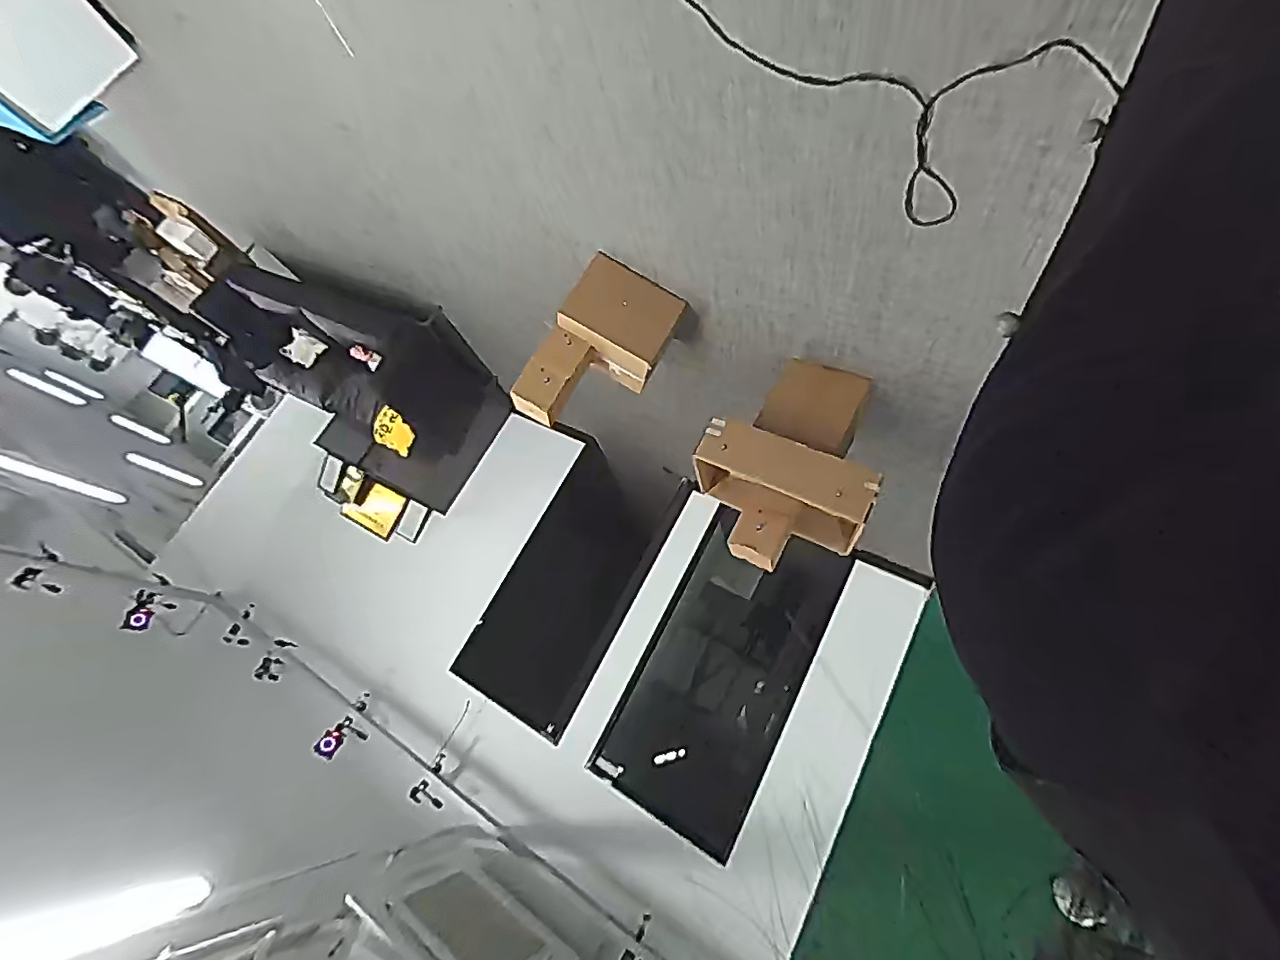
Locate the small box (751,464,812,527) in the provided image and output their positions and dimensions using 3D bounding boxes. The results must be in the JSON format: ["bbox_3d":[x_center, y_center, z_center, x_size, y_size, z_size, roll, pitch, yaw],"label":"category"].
[{"bbox_3d":[0.523,0.068,2.000,0.168,0.176,0.179,23,163,22],"label":"small box"}]

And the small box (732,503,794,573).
[{"bbox_3d":[0.448,0.207,1.955,0.168,0.176,0.179,23,163,25],"label":"small box"}]

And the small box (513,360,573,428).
[{"bbox_3d":[-0.375,-0.338,2.132,0.168,0.176,0.179,29,165,3],"label":"small box"}]
